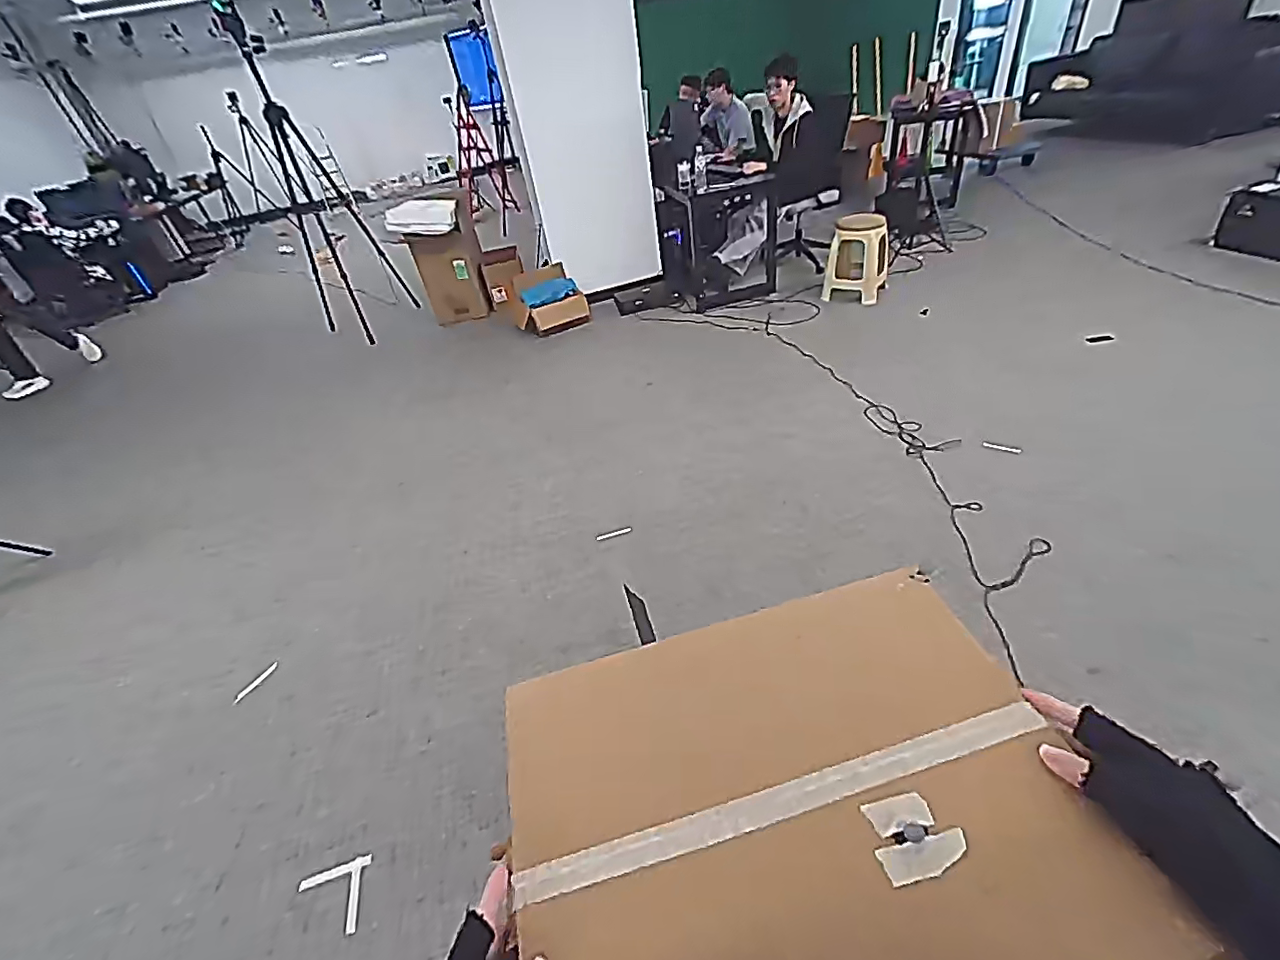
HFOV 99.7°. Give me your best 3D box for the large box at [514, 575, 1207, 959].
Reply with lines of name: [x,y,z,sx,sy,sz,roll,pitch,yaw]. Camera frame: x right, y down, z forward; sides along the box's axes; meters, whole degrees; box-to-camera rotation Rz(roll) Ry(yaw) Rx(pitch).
large box: [0.129,0.351,0.503,0.408,0.320,0.320,-15,41,-6]
